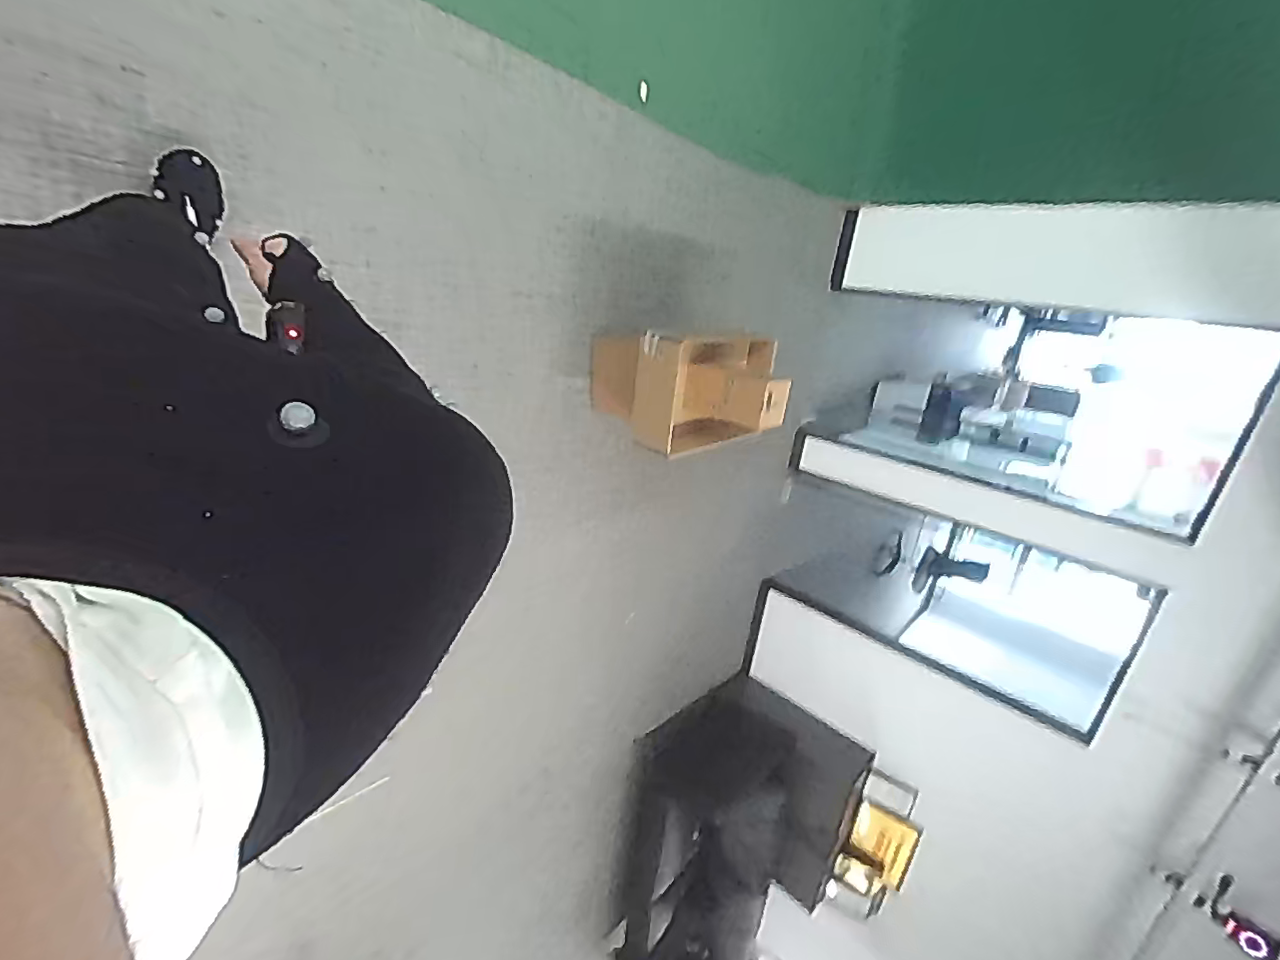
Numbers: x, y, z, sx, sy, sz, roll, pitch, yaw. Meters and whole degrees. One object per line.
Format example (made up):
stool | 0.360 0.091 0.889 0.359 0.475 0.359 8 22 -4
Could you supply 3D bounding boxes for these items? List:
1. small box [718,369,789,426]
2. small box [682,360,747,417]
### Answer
small box | 0.398 -0.295 1.912 0.179 0.176 0.168 -15 120 -47
small box | 0.274 -0.346 2.006 0.168 0.176 0.179 -17 121 -46
